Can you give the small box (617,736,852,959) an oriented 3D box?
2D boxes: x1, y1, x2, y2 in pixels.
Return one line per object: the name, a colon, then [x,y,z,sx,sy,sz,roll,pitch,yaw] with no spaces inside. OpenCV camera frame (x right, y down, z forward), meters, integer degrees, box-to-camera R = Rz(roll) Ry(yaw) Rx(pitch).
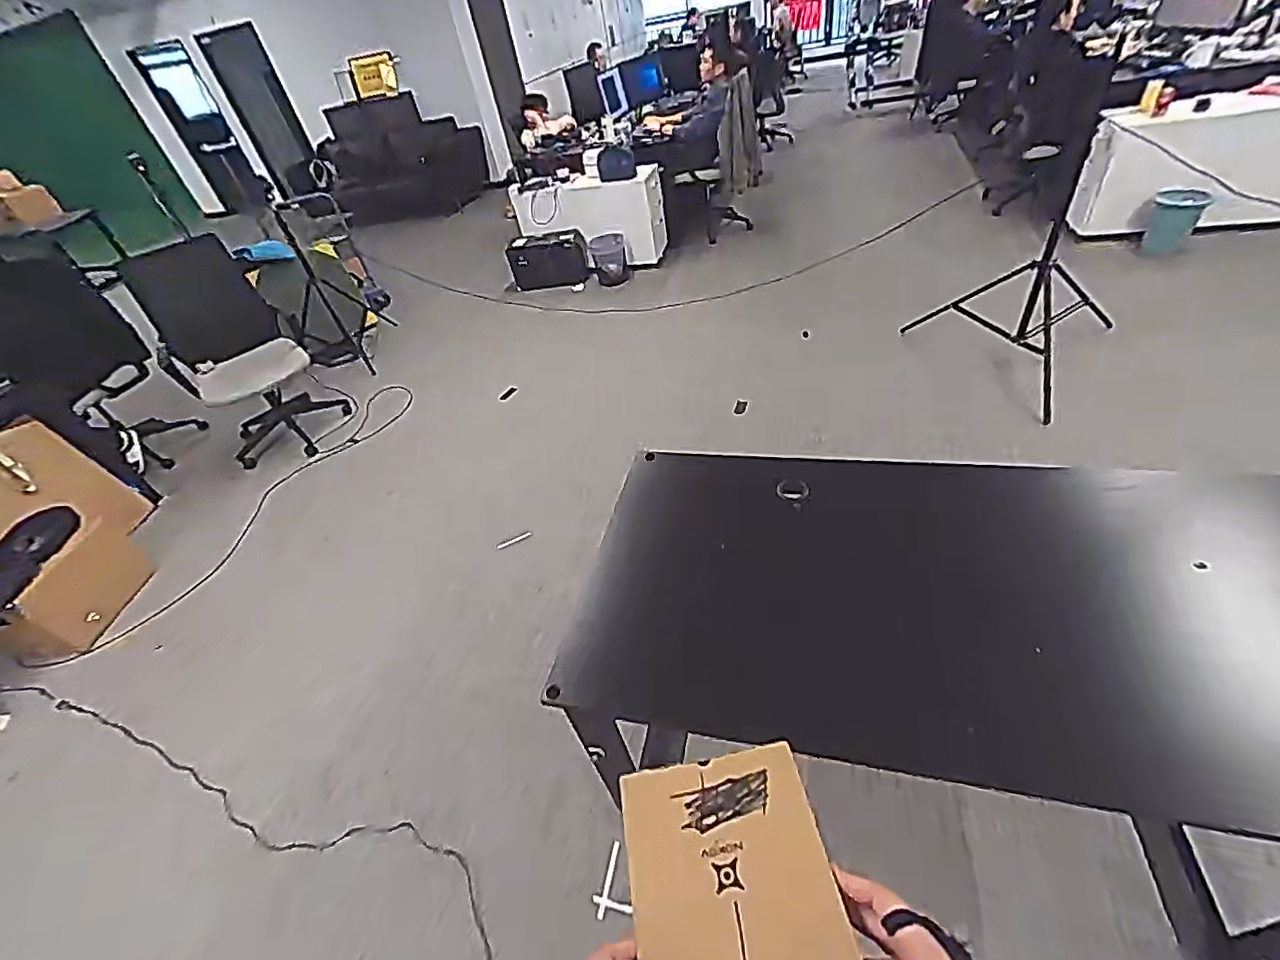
small box: [0.079,0.377,0.509,0.168,0.176,0.179,-13,40,1]
